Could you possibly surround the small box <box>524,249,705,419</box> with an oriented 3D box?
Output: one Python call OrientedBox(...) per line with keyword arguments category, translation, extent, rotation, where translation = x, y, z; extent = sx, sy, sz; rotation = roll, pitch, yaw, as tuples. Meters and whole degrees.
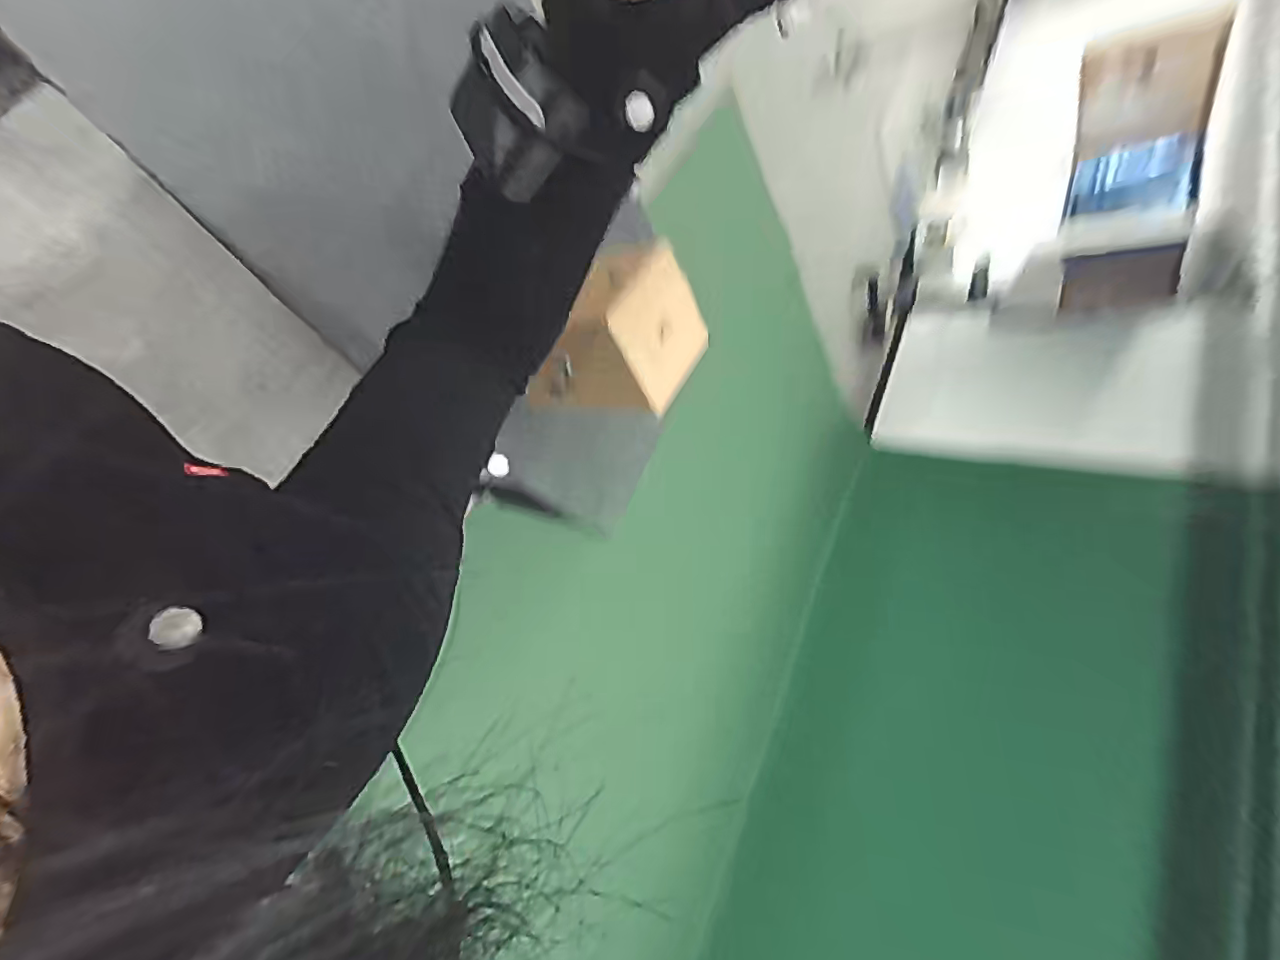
OrientedBox(category="small box", translation=(-0.035, -0.211, 0.798), extent=(0.179, 0.176, 0.168), rotation=(-57, 134, -26))
